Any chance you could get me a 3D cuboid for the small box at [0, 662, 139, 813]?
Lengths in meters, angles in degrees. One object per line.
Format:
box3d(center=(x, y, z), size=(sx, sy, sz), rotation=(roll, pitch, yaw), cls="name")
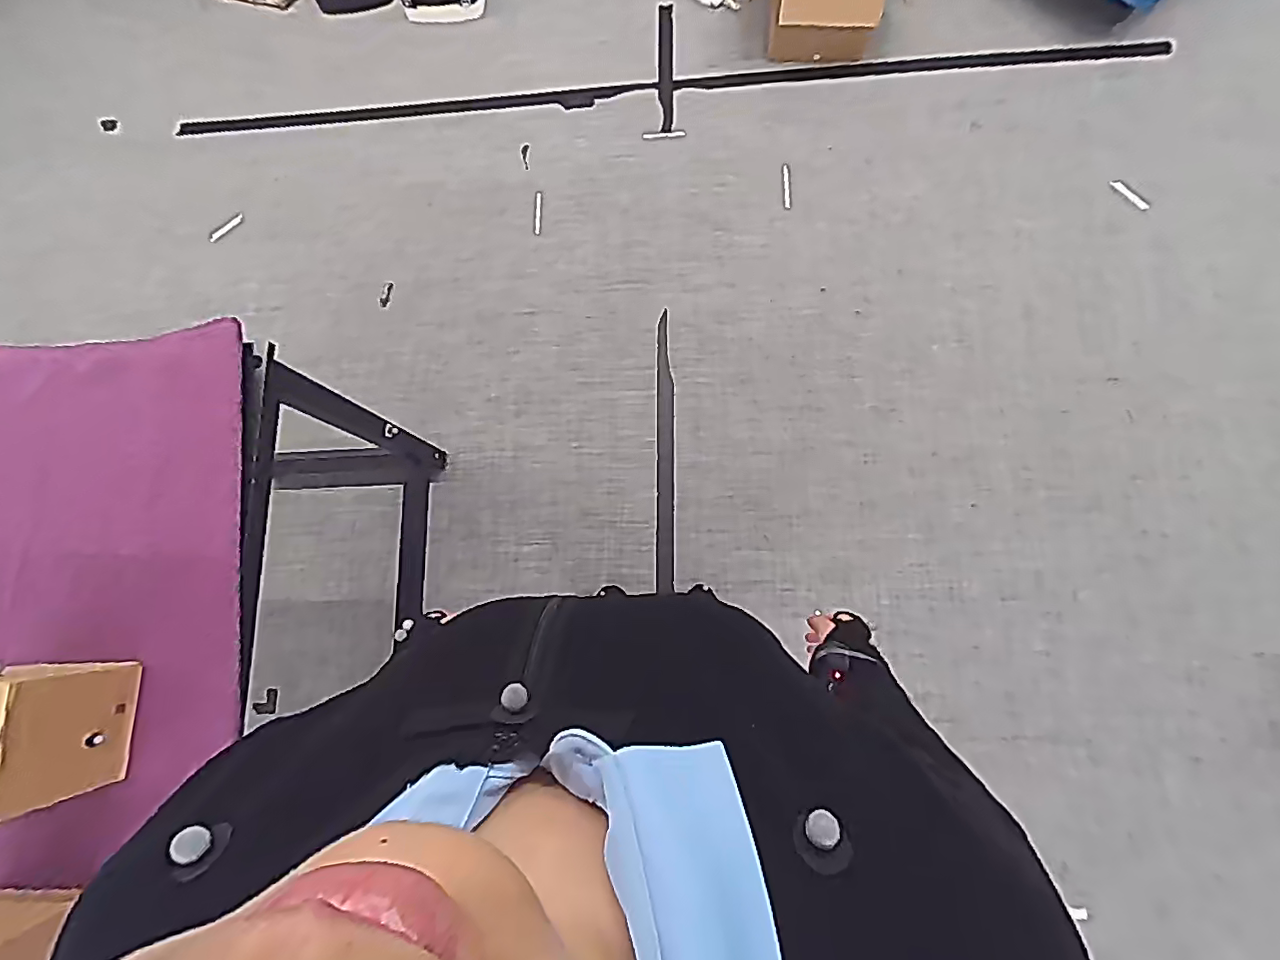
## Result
box3d(center=(-0.851, 0.344, 0.733), size=(0.179, 0.176, 0.168), rotation=(-2, 78, 4), cls="small box")
